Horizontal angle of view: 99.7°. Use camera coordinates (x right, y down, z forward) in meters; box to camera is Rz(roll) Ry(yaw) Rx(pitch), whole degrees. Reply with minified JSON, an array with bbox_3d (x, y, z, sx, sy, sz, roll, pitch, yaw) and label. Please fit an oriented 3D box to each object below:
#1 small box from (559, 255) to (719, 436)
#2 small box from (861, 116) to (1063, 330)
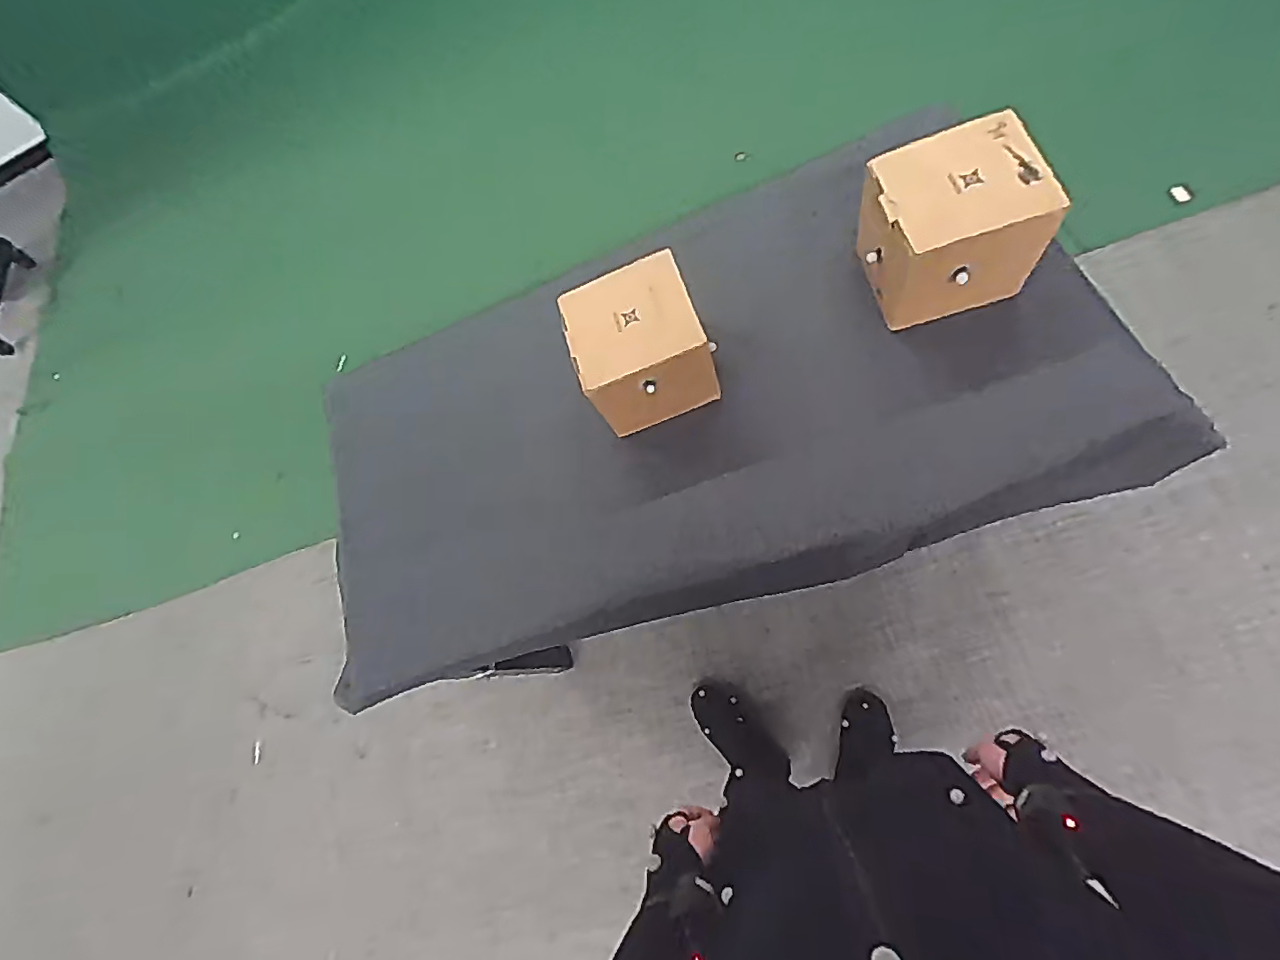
[{"bbox_3d":[0.005,-0.188,0.805,0.179,0.176,0.168,-21,69,7],"label":"small box"},{"bbox_3d":[0.411,-0.332,0.733,0.179,0.176,0.168,-15,69,11],"label":"small box"}]
